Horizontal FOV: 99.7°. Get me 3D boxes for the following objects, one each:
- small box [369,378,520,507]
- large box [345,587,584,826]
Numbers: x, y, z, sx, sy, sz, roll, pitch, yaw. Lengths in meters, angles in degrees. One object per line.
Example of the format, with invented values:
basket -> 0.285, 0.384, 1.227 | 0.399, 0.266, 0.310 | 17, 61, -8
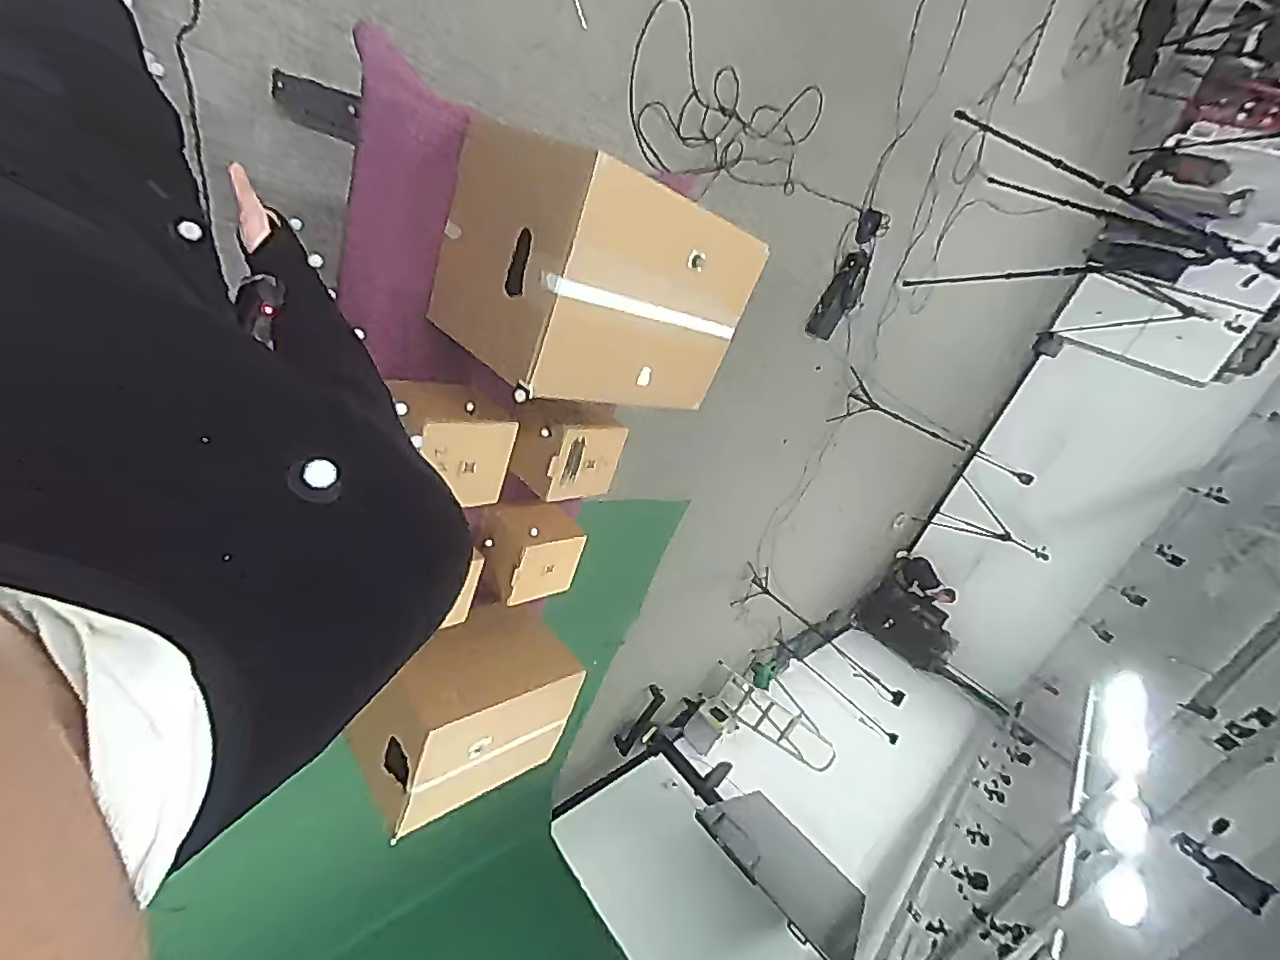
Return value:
small box -> -0.346, -0.072, 0.956 | 0.179, 0.176, 0.168 | -7, 124, -49
large box -> -0.413, 0.494, 1.280 | 0.408, 0.320, 0.320 | -3, 121, -49
